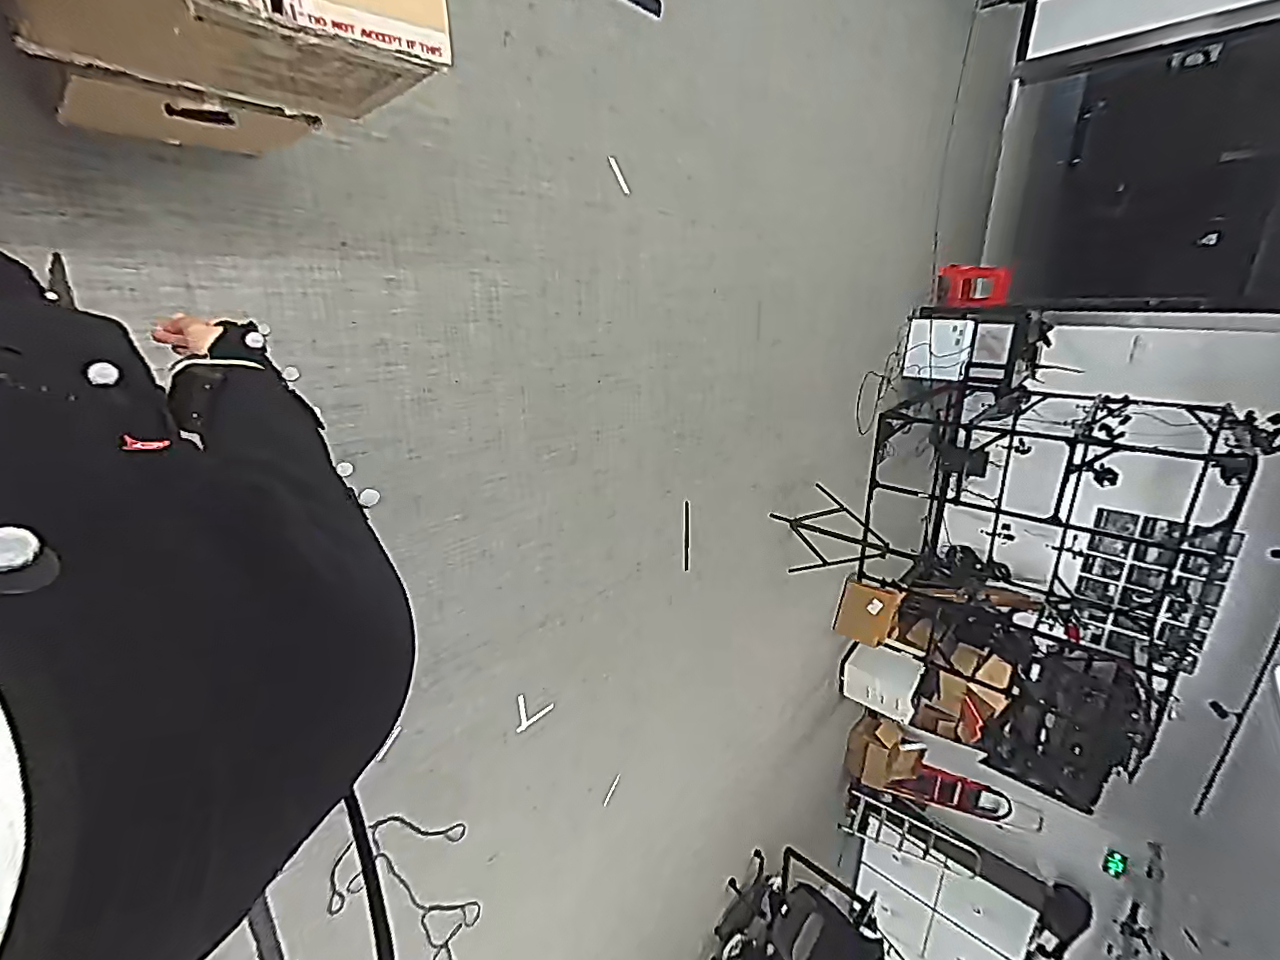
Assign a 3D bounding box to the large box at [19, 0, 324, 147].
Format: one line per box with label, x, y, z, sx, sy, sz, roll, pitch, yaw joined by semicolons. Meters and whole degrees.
large box;-0.757;-0.796;0.843;0.320;0.320;0.408;-21;118;-44
